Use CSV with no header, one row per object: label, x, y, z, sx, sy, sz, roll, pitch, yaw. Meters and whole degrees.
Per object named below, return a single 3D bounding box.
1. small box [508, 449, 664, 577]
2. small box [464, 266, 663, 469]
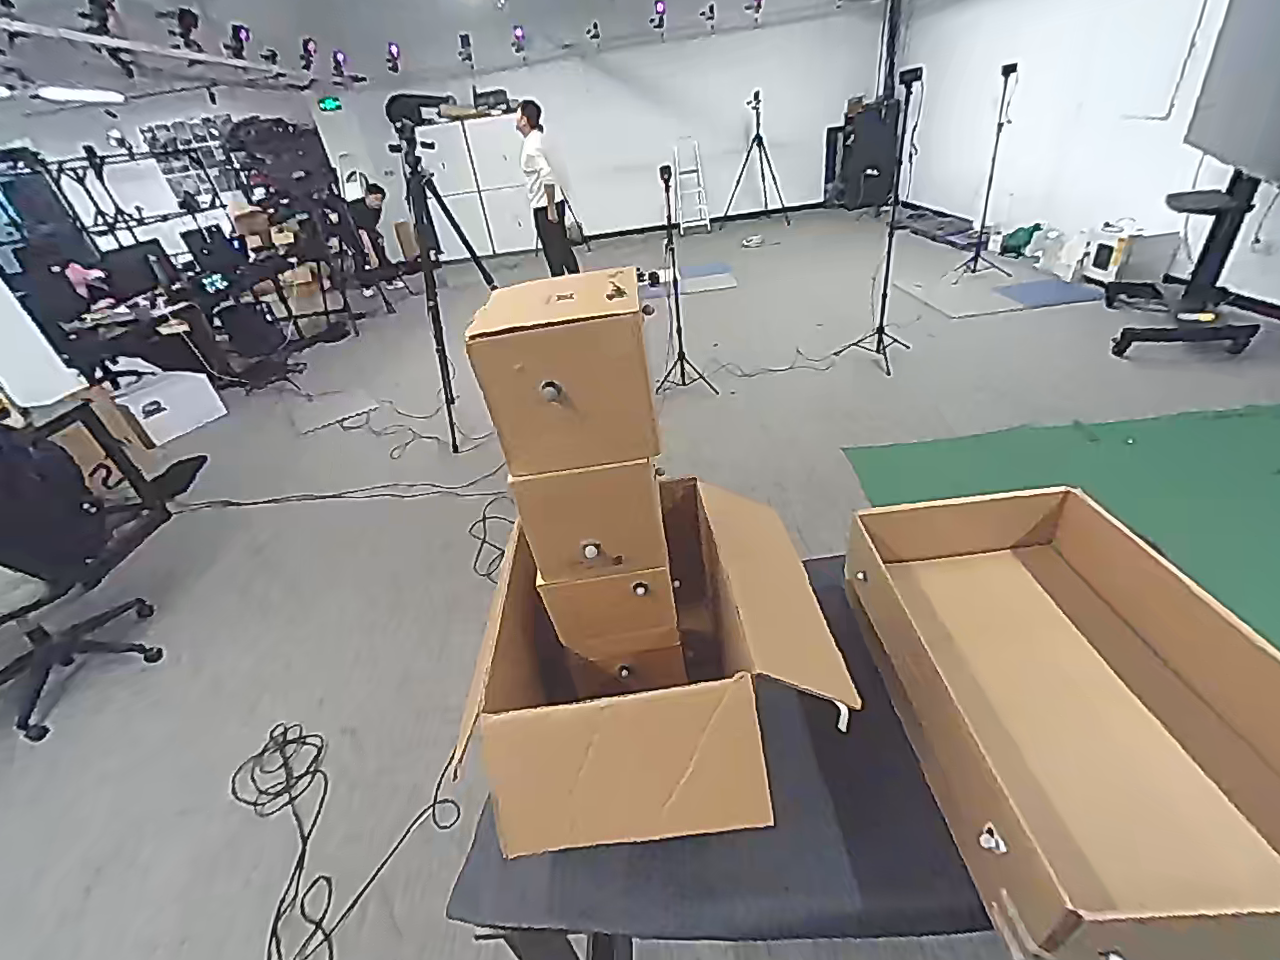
small box,-0.061,0.004,0.723,0.168,0.176,0.179,-8,37,4
small box,-0.074,-0.128,0.626,0.179,0.176,0.168,-8,37,4
